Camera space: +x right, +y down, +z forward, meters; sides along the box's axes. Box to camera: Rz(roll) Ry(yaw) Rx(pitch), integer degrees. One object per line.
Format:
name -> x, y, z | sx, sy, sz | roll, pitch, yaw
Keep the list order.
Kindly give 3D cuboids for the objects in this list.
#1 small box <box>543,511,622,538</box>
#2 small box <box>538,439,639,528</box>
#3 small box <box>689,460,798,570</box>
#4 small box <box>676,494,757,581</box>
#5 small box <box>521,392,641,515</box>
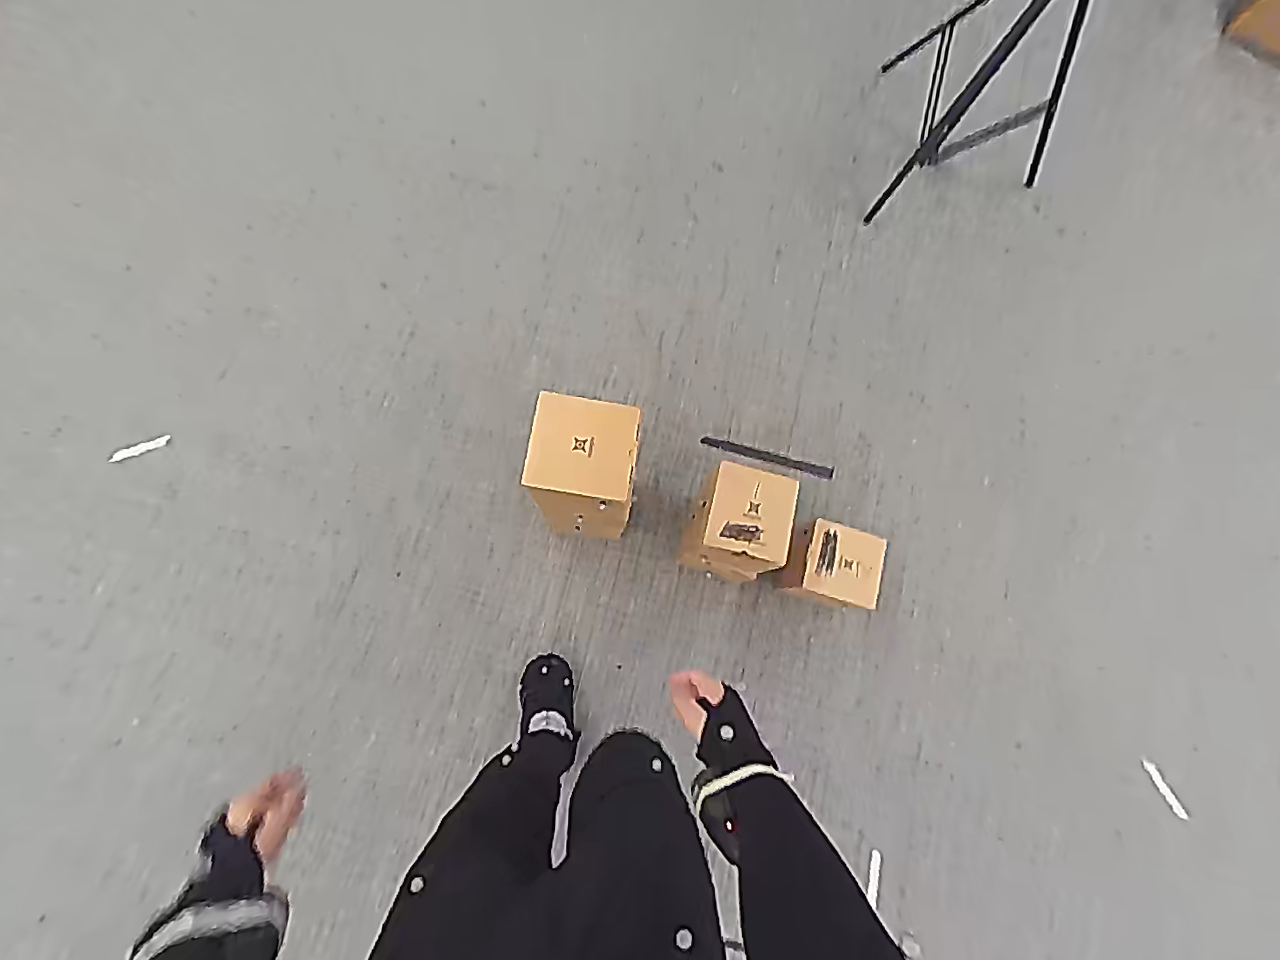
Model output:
small box -> -0.123, 0.039, 1.276 | 0.179, 0.176, 0.168 | 7, 77, -3
small box -> -0.105, 0.001, 1.118 | 0.179, 0.176, 0.168 | 9, 77, -4
small box -> 0.207, 0.081, 1.126 | 0.168, 0.176, 0.179 | 15, 75, -2
small box -> 0.193, 0.129, 1.282 | 0.168, 0.176, 0.179 | 18, 76, 0
small box -> -0.101, -0.038, 0.959 | 0.179, 0.176, 0.168 | 9, 77, -3
